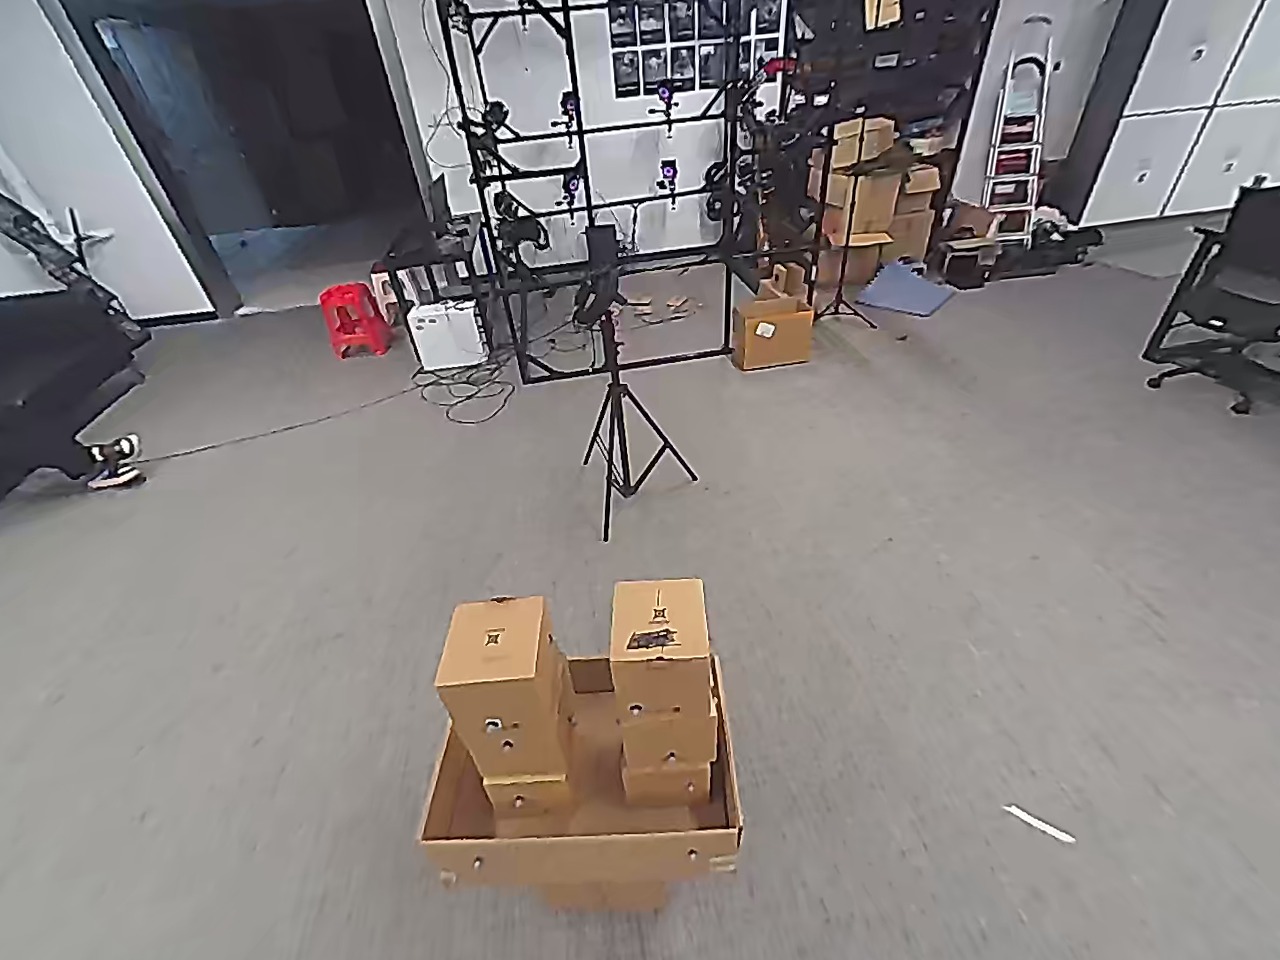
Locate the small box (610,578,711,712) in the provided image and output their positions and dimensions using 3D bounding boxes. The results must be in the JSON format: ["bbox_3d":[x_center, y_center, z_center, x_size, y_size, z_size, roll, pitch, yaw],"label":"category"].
[{"bbox_3d":[0.041,0.301,0.977,0.168,0.176,0.179,-3,36,3],"label":"small box"}]

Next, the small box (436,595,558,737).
[{"bbox_3d":[-0.244,0.333,0.975,0.168,0.176,0.179,-5,36,0],"label":"small box"}]

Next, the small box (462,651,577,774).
[{"bbox_3d":[-0.229,0.463,1.074,0.179,0.176,0.168,-3,37,1],"label":"small box"}]

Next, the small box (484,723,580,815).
[{"bbox_3d":[-0.223,0.599,1.166,0.168,0.176,0.179,-4,36,0],"label":"small box"}]

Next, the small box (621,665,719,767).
[{"bbox_3d":[0.054,0.441,1.065,0.179,0.176,0.168,-4,37,0],"label":"small box"}]
